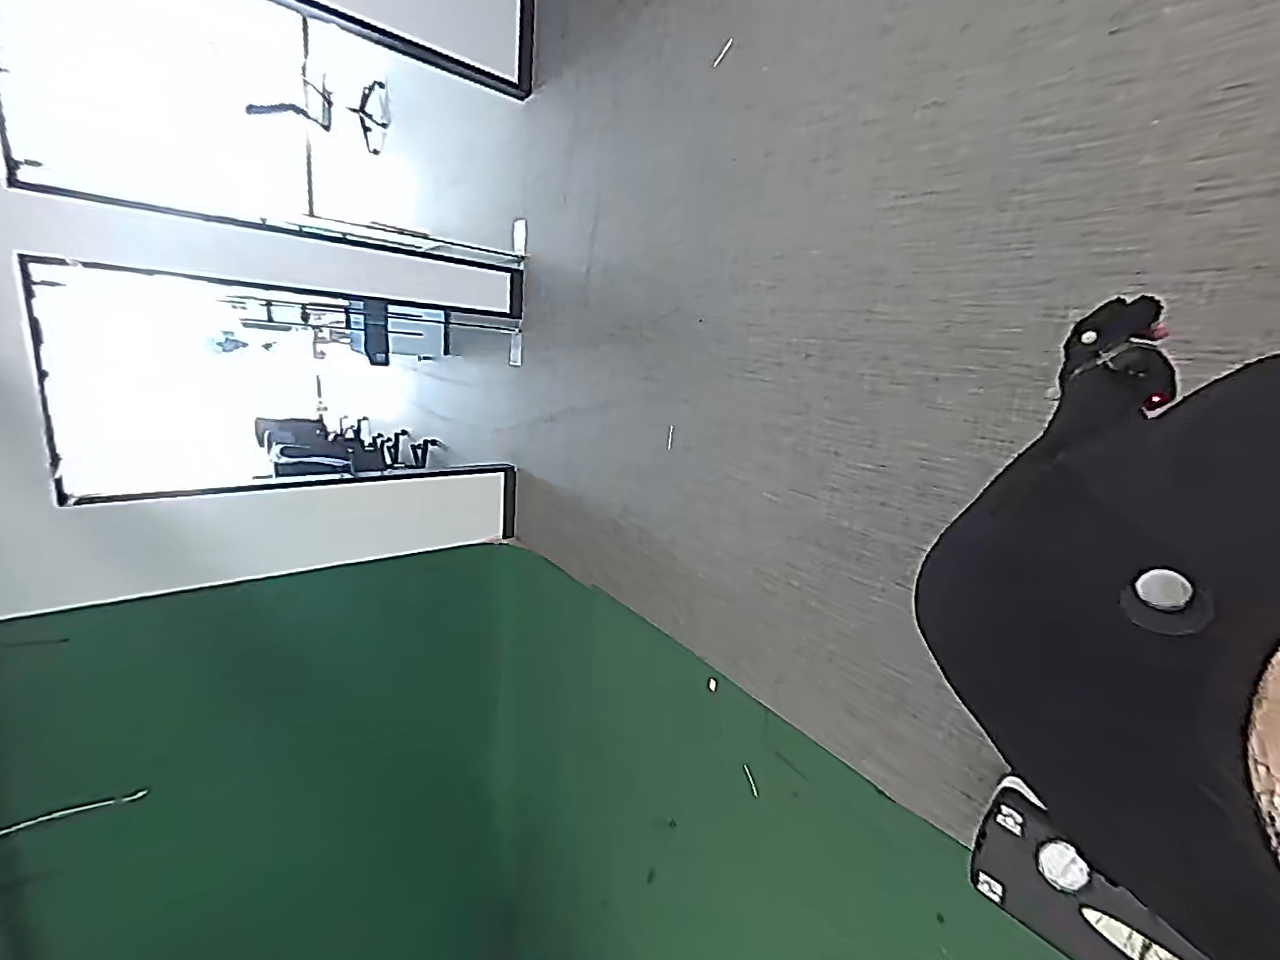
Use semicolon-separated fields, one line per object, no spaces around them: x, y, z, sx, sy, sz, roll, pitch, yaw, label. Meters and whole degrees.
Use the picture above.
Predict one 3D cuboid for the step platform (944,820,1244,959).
0.941;0.958;0.952;0.684;0.204;0.286;20;110;47;step platform
